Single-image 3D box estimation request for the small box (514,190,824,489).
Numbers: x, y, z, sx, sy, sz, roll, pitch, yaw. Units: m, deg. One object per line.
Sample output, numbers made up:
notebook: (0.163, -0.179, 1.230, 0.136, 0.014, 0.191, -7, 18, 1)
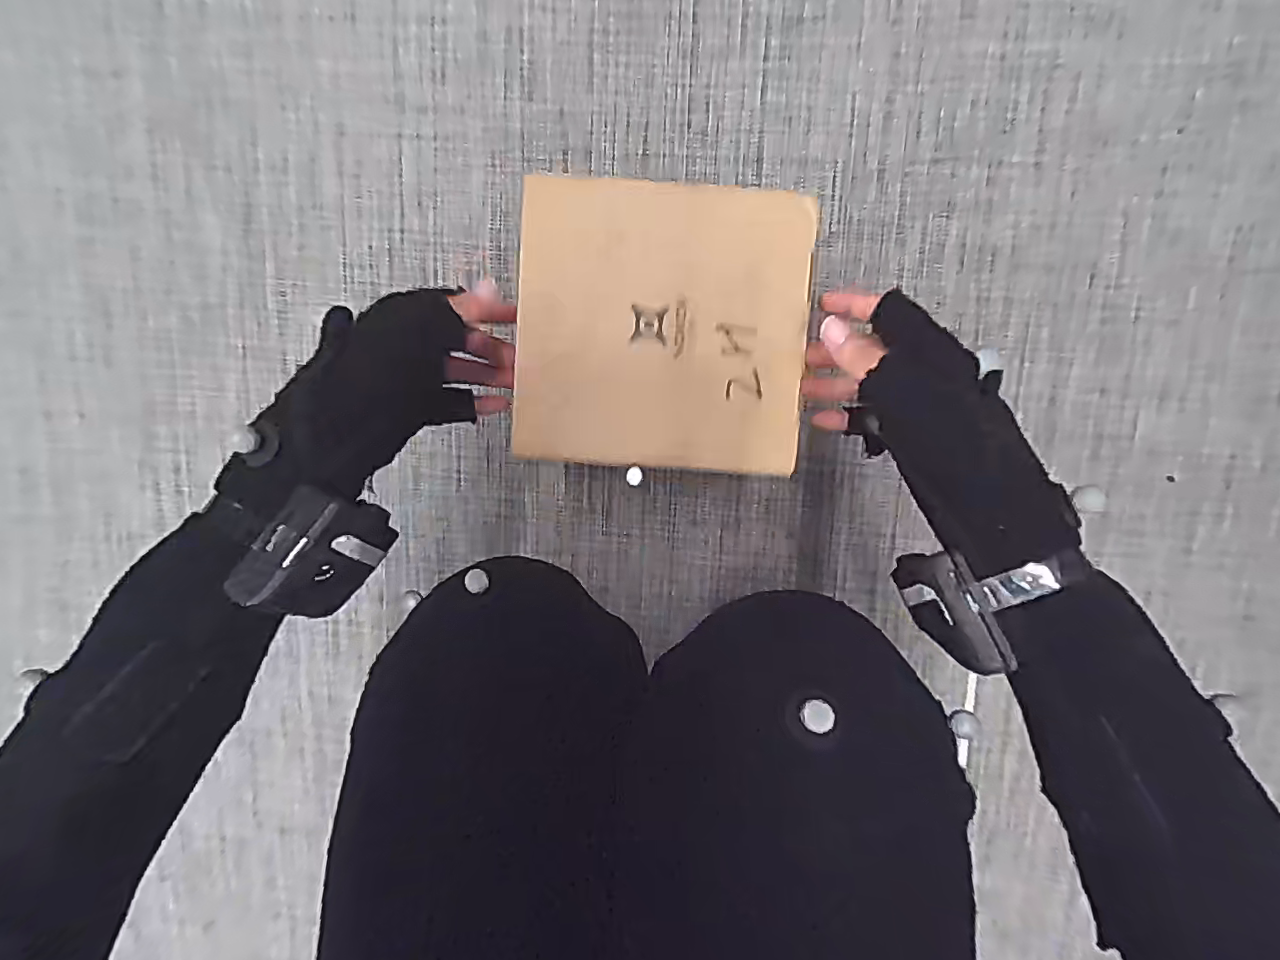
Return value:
small box: (0.014, -0.094, 0.403, 0.179, 0.176, 0.168, 4, 101, -2)
